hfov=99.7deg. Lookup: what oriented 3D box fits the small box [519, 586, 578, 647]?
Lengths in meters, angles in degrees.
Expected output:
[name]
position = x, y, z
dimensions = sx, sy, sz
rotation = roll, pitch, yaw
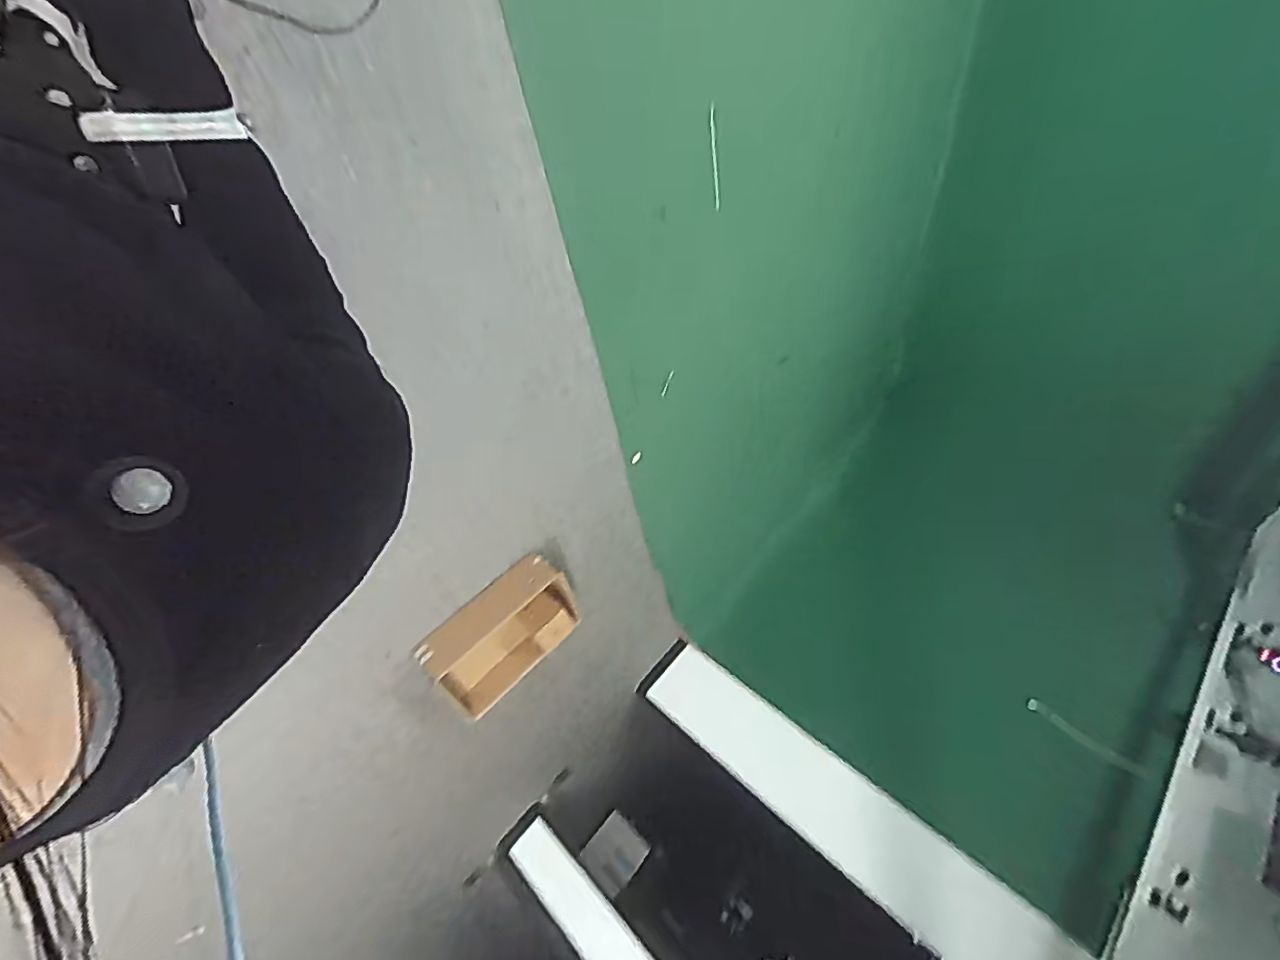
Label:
[small box]
position = -0.402, 0.588, 2.362
dimensions = 0.168, 0.176, 0.179
rotation = -42, 142, -22
